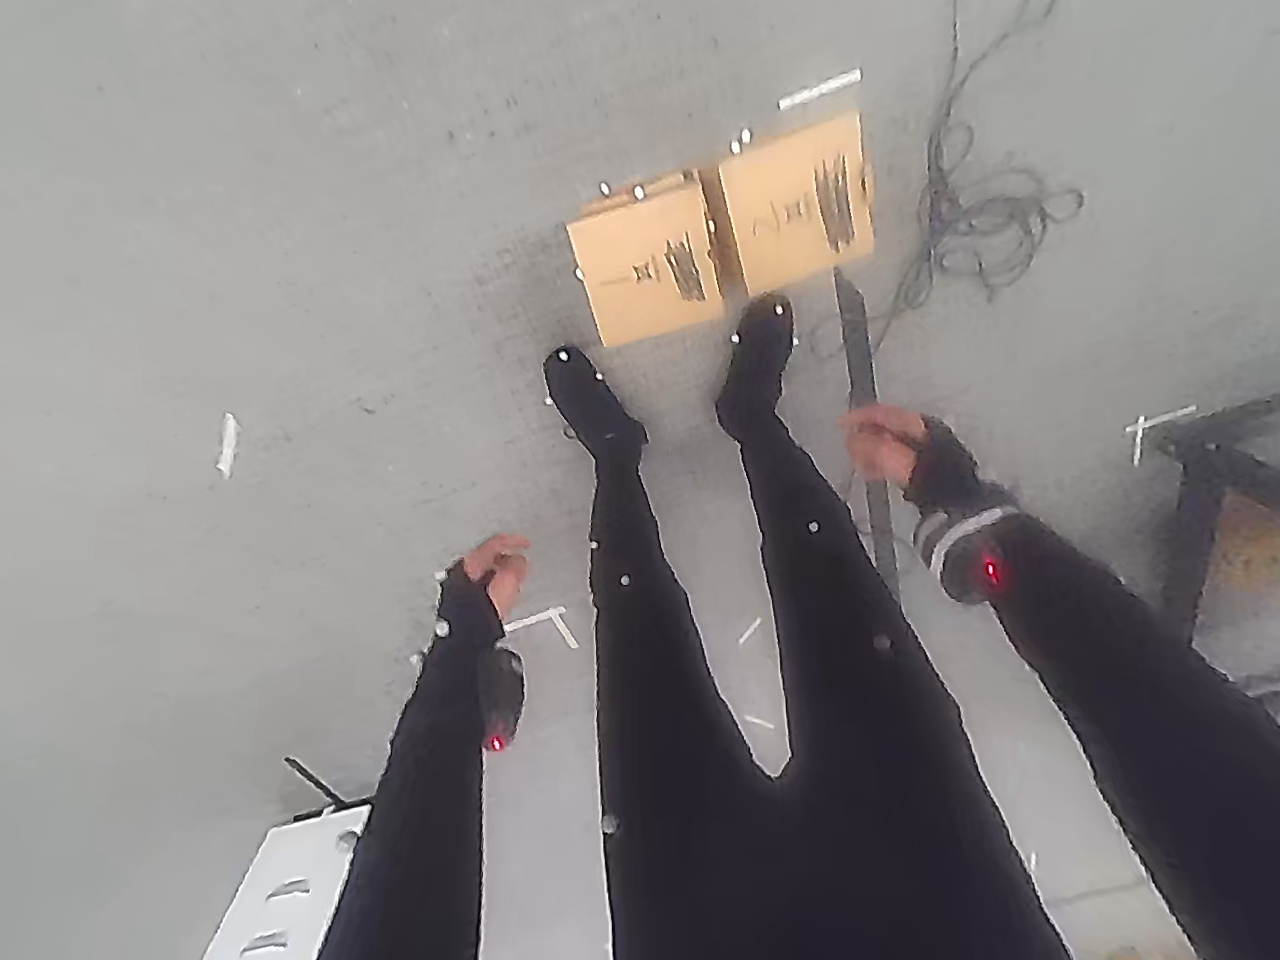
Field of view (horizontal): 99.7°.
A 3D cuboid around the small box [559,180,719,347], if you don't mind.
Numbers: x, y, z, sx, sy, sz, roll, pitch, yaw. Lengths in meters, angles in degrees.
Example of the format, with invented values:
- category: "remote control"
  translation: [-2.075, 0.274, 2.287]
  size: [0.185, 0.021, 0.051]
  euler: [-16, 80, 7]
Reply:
- category: "small box"
  translation: [0.001, -0.309, 0.759]
  size: [0.179, 0.176, 0.168]
  euler: [-14, 119, 8]
